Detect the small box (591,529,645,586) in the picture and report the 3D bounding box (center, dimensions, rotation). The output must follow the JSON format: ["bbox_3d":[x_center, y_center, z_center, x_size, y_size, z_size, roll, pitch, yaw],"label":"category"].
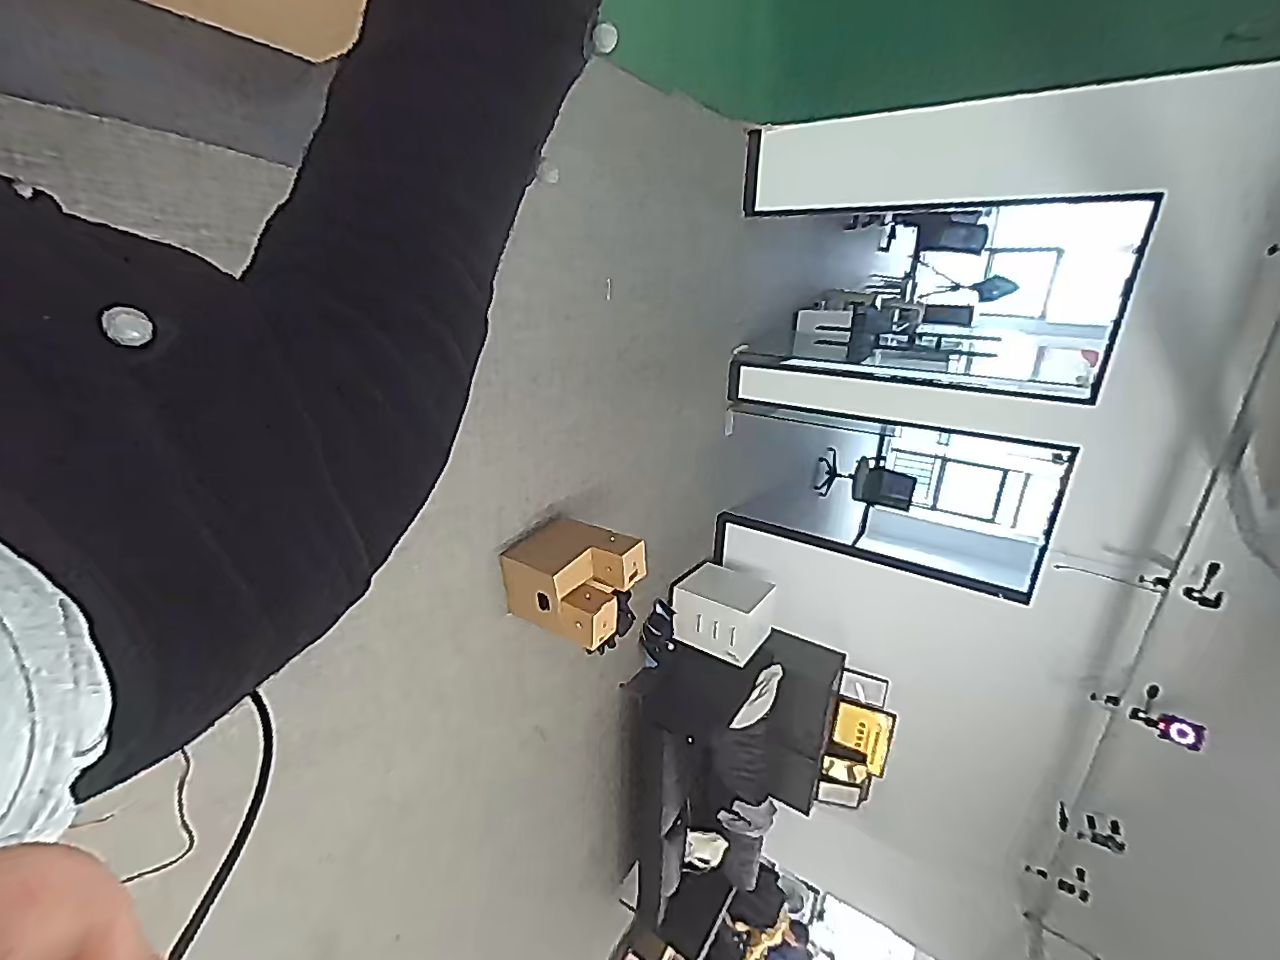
[{"bbox_3d":[-0.096,0.333,2.353,0.168,0.176,0.179,-33,125,-51],"label":"small box"}]

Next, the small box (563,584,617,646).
[{"bbox_3d":[-0.209,0.548,2.243,0.168,0.176,0.179,-30,127,-52],"label":"small box"}]
